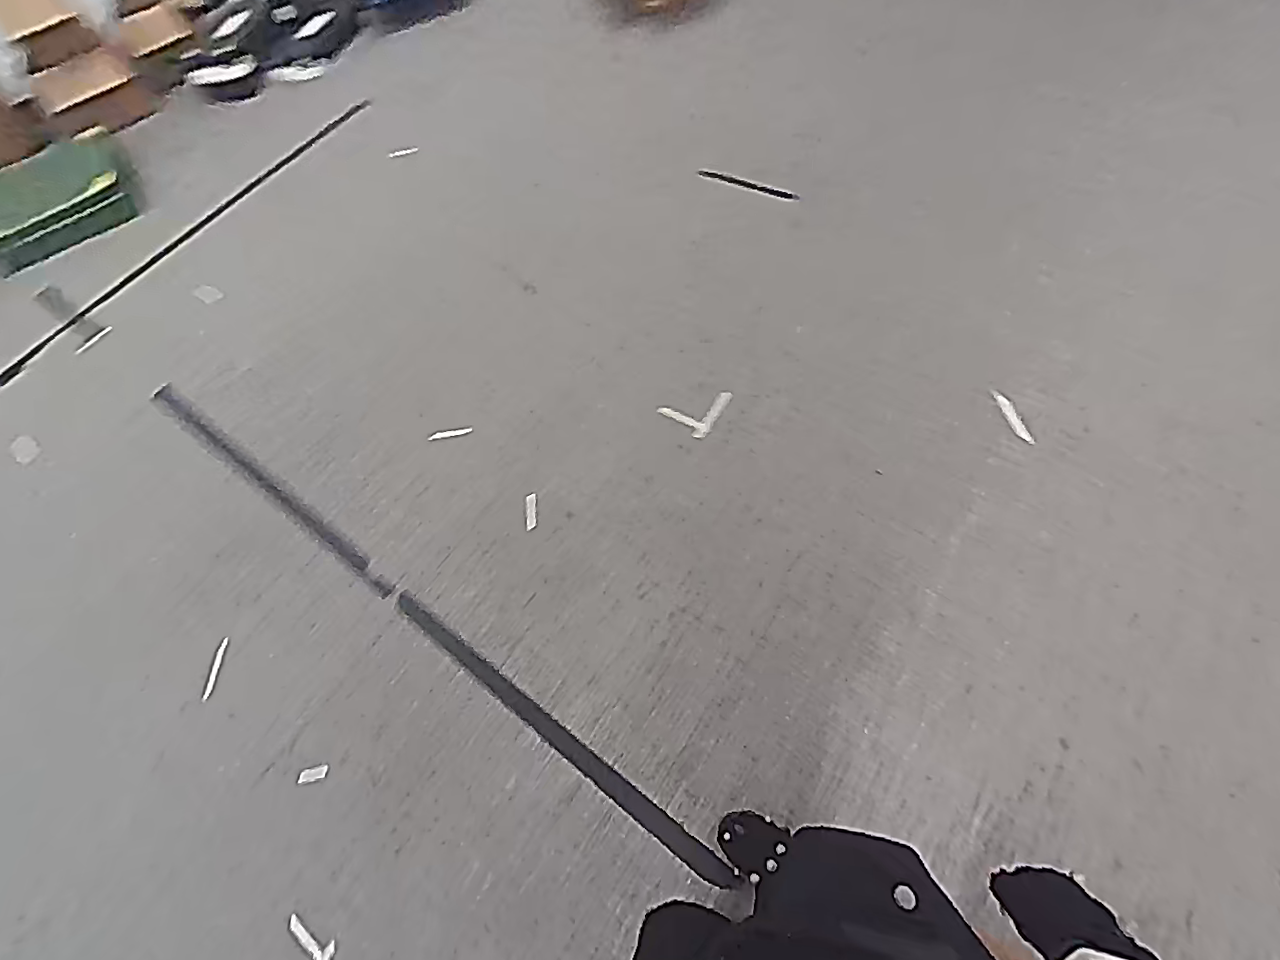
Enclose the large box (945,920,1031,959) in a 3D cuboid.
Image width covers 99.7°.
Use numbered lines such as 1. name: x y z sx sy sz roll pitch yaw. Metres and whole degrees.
1. large box: 0.583 0.958 0.753 0.320 0.320 0.408 30 71 21
